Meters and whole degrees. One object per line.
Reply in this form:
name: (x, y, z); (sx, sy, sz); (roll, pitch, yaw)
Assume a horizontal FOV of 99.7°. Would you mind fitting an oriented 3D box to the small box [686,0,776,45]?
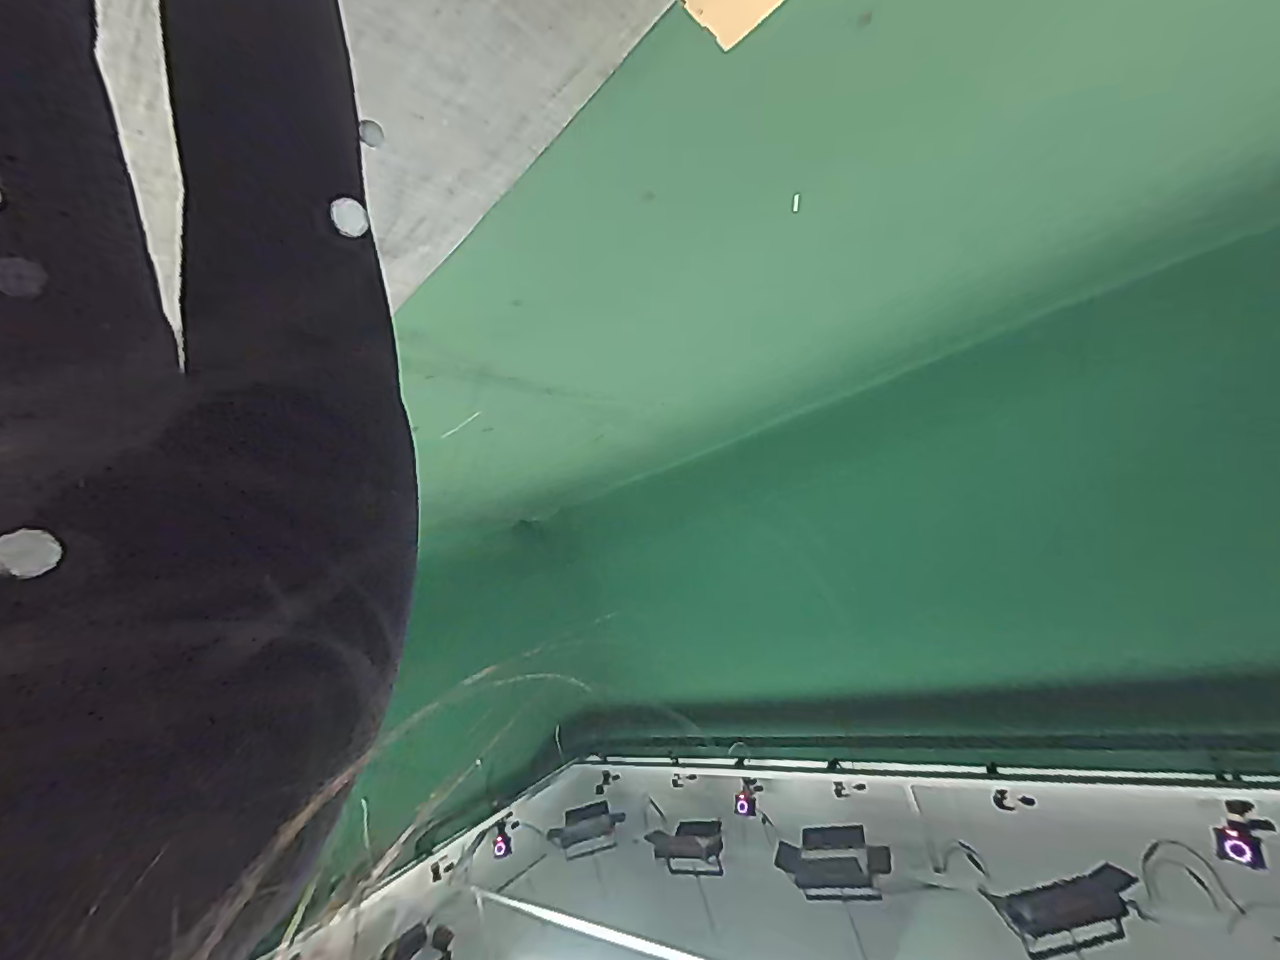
small box: (0.109, -0.696, 0.640); (0.179, 0.176, 0.168); (-21, 170, 37)
